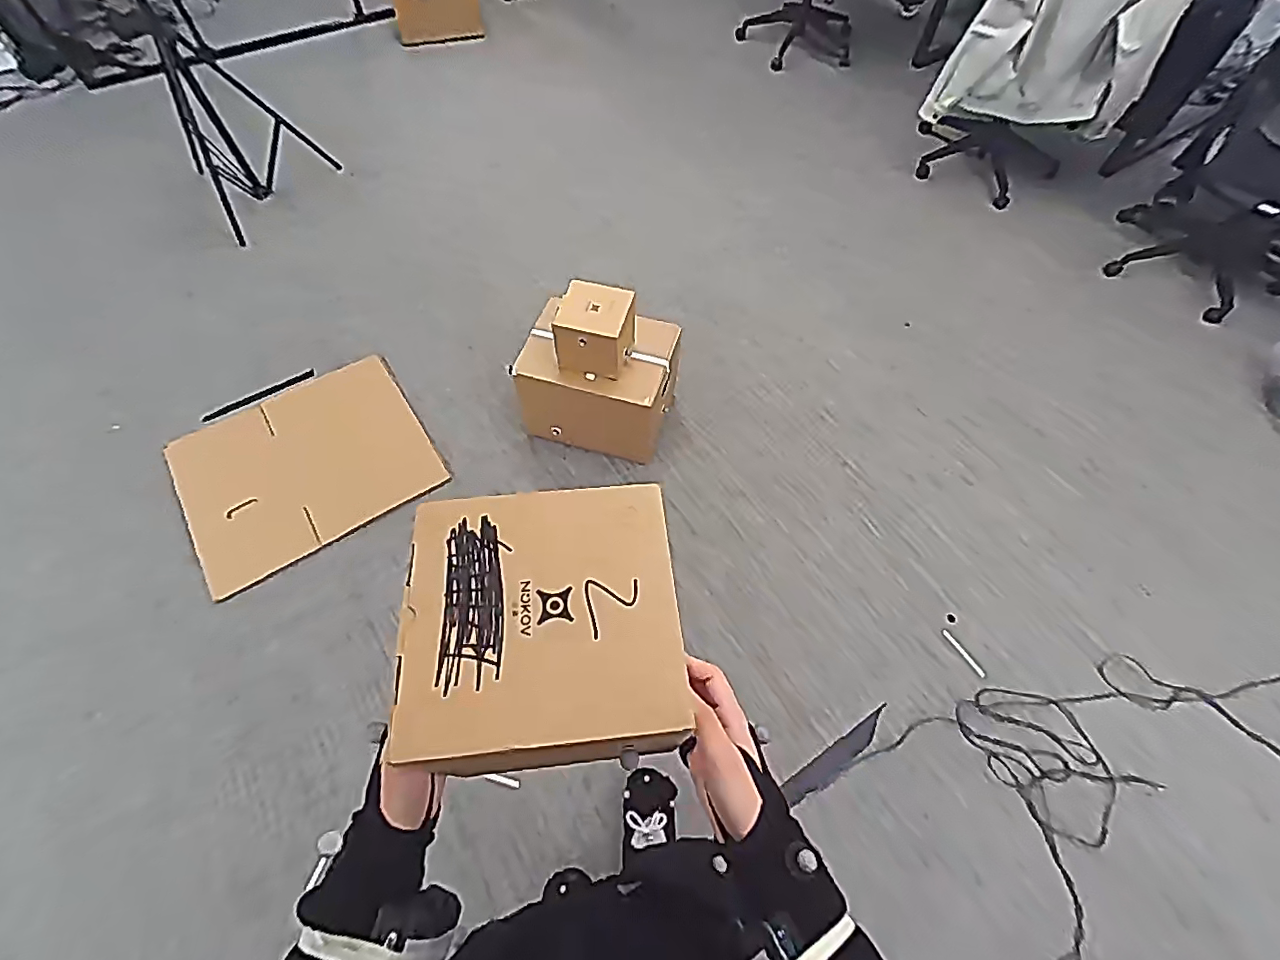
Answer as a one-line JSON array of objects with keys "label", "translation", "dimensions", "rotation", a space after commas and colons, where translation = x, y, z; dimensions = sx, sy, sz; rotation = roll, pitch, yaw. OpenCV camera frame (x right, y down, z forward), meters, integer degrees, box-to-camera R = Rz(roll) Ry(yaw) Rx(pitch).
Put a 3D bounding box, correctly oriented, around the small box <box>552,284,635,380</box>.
[{"label": "small box", "translation": [-0.118, -0.388, 1.440], "dimensions": [0.179, 0.176, 0.168], "rotation": [13, 63, 6]}]
